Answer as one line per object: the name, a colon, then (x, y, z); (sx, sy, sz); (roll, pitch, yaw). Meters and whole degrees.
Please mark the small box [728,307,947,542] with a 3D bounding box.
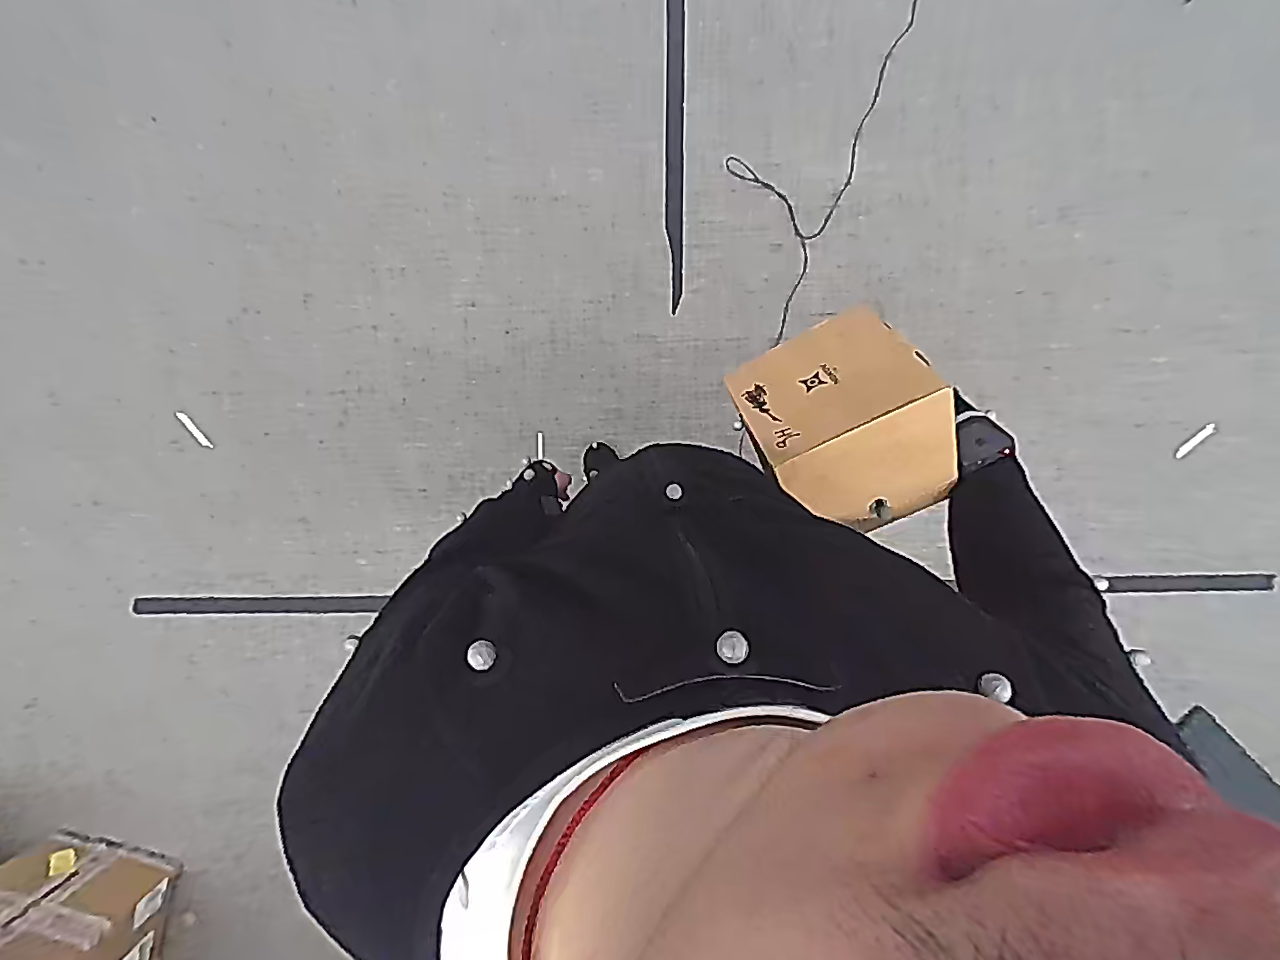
small box: (0.226, -0.059, 0.625); (0.179, 0.168, 0.176); (-25, 132, 10)
